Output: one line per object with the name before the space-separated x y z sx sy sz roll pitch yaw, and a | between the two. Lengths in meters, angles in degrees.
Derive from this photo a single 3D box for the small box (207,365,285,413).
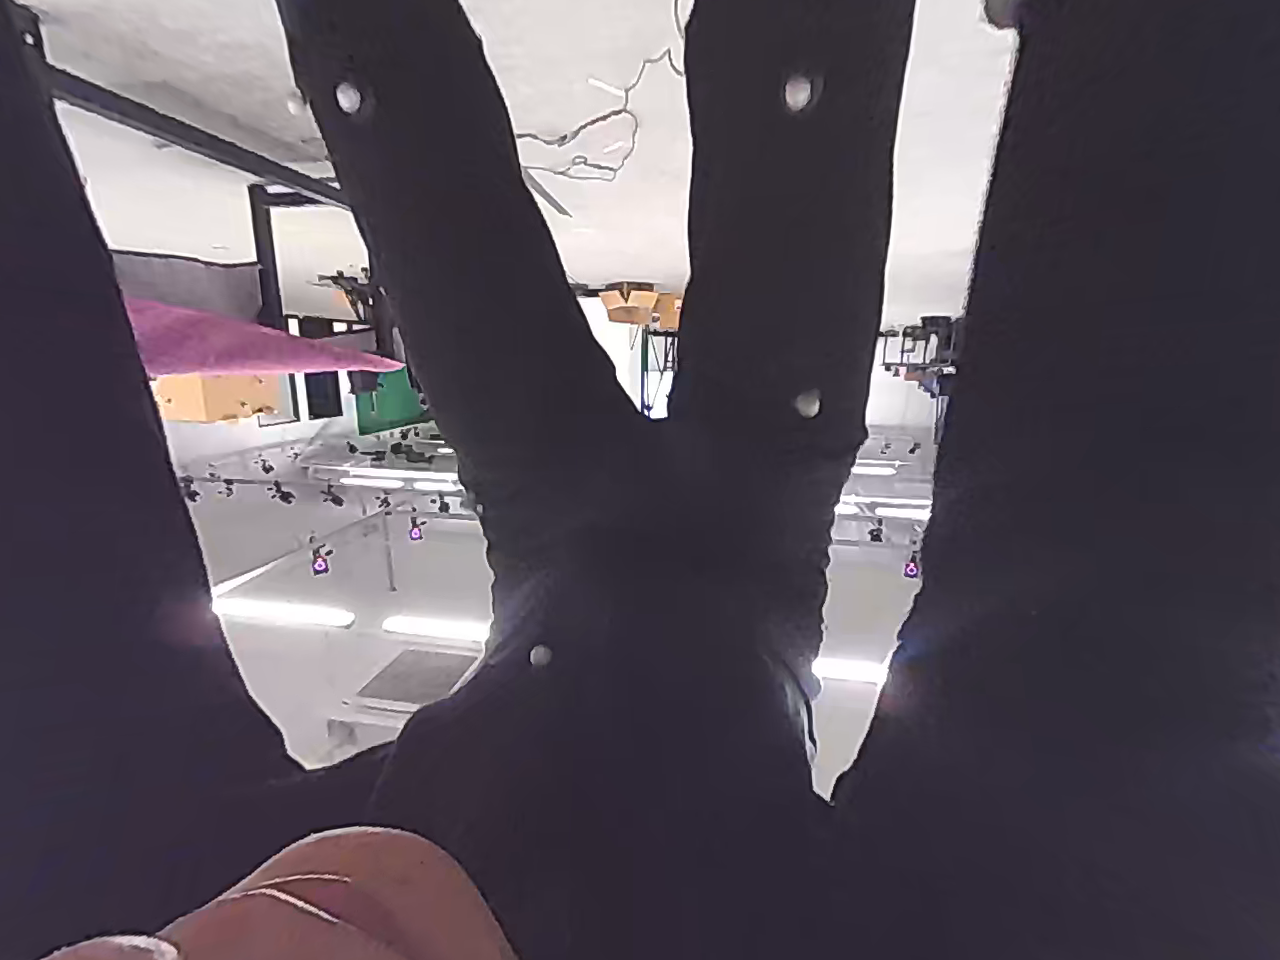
small box | -1.482 -0.346 2.031 0.179 0.176 0.168 3 -166 10
